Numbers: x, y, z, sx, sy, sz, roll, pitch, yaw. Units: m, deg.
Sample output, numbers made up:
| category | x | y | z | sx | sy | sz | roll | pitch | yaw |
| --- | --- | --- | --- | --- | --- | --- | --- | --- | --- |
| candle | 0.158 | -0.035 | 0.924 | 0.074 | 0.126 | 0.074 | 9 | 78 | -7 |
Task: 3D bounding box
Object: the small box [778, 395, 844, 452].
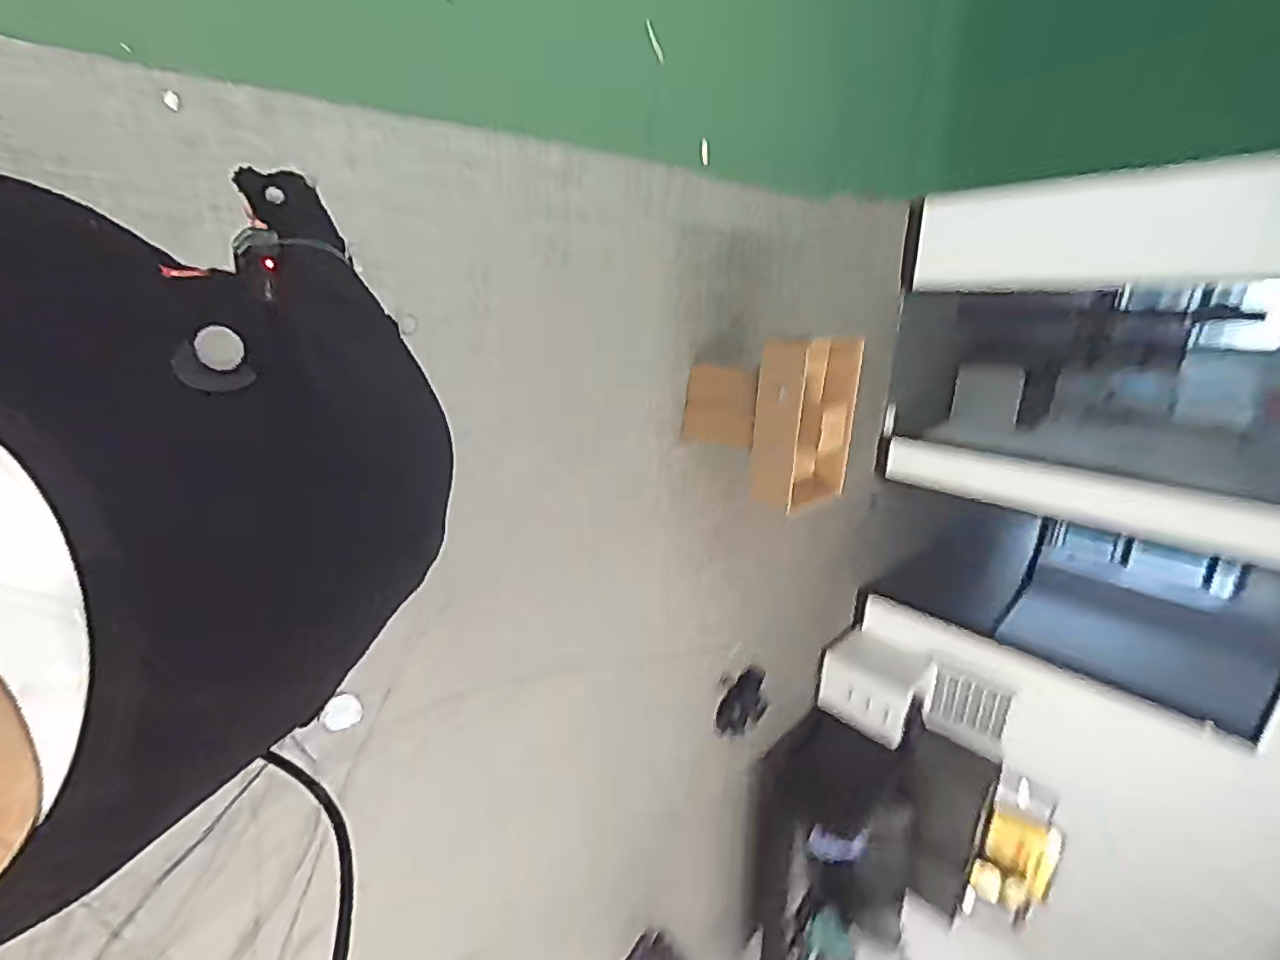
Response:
| category | x | y | z | sx | sy | sz | roll | pitch | yaw |
| --- | --- | --- | --- | --- | --- | --- | --- | --- | --- |
| small box | 0.629 | -0.214 | 2.005 | 0.179 | 0.176 | 0.168 | -19 | 118 | -42 |
